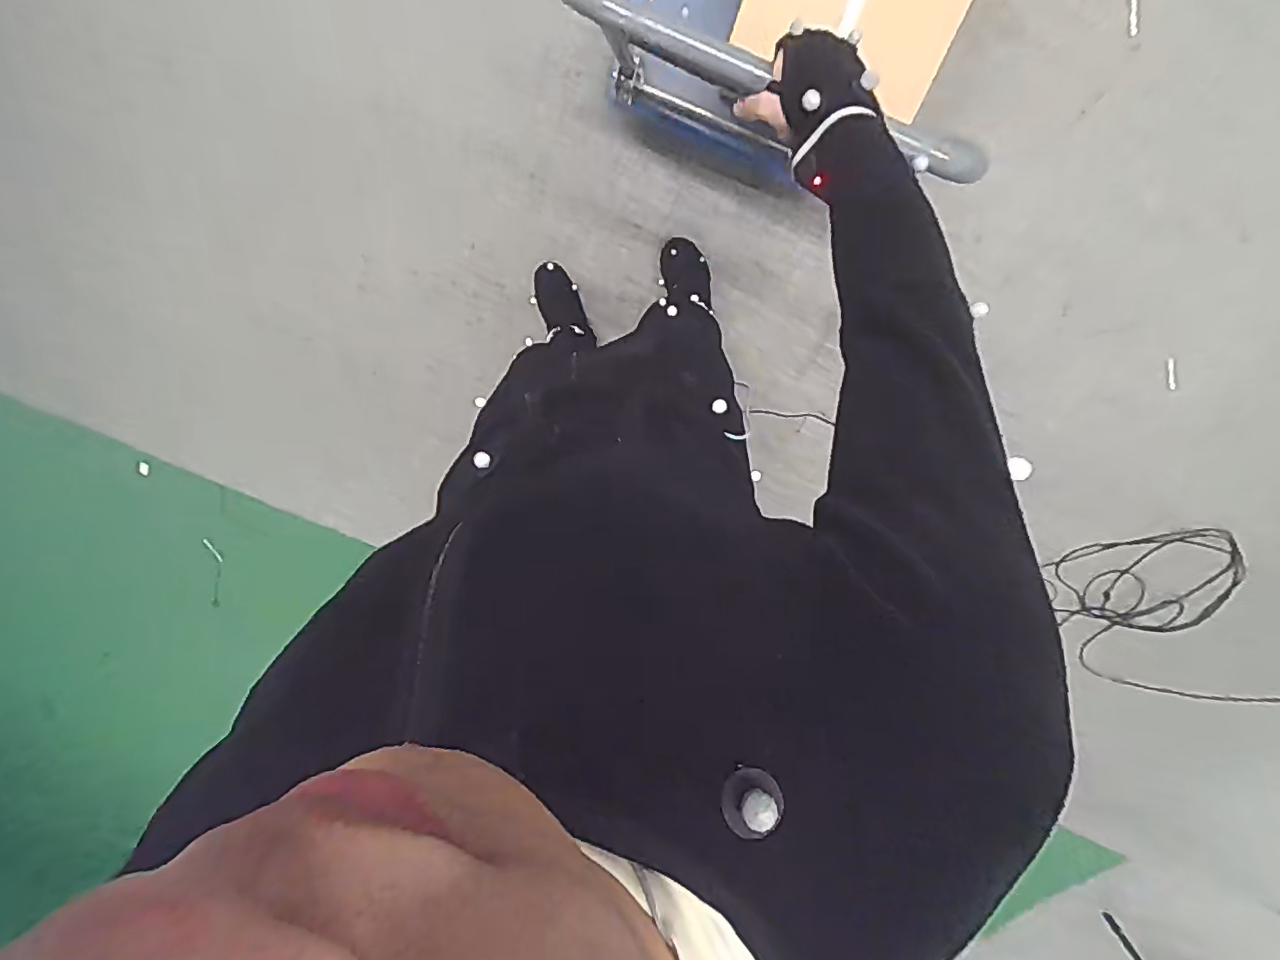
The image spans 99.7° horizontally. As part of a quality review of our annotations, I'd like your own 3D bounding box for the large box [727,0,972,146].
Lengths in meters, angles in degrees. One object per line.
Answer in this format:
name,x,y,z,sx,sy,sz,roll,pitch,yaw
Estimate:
large box,0.358,-0.830,0.887,0.320,0.320,0.408,19,118,-4
